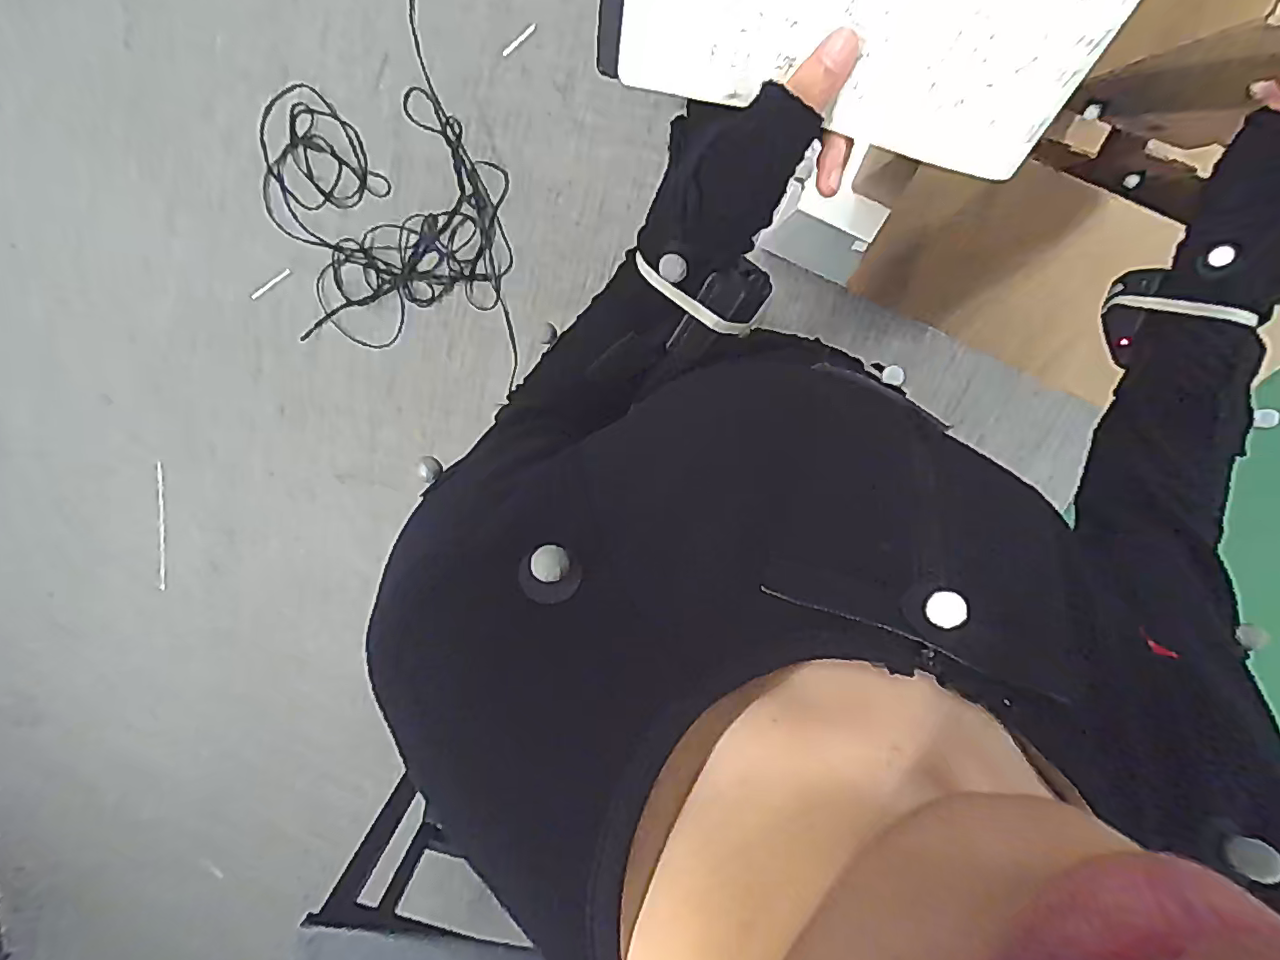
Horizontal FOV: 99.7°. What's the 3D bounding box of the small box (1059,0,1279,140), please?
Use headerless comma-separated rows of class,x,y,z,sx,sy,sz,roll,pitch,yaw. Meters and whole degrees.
small box,0.441,-0.358,0.365,0.168,0.176,0.179,9,109,-11
